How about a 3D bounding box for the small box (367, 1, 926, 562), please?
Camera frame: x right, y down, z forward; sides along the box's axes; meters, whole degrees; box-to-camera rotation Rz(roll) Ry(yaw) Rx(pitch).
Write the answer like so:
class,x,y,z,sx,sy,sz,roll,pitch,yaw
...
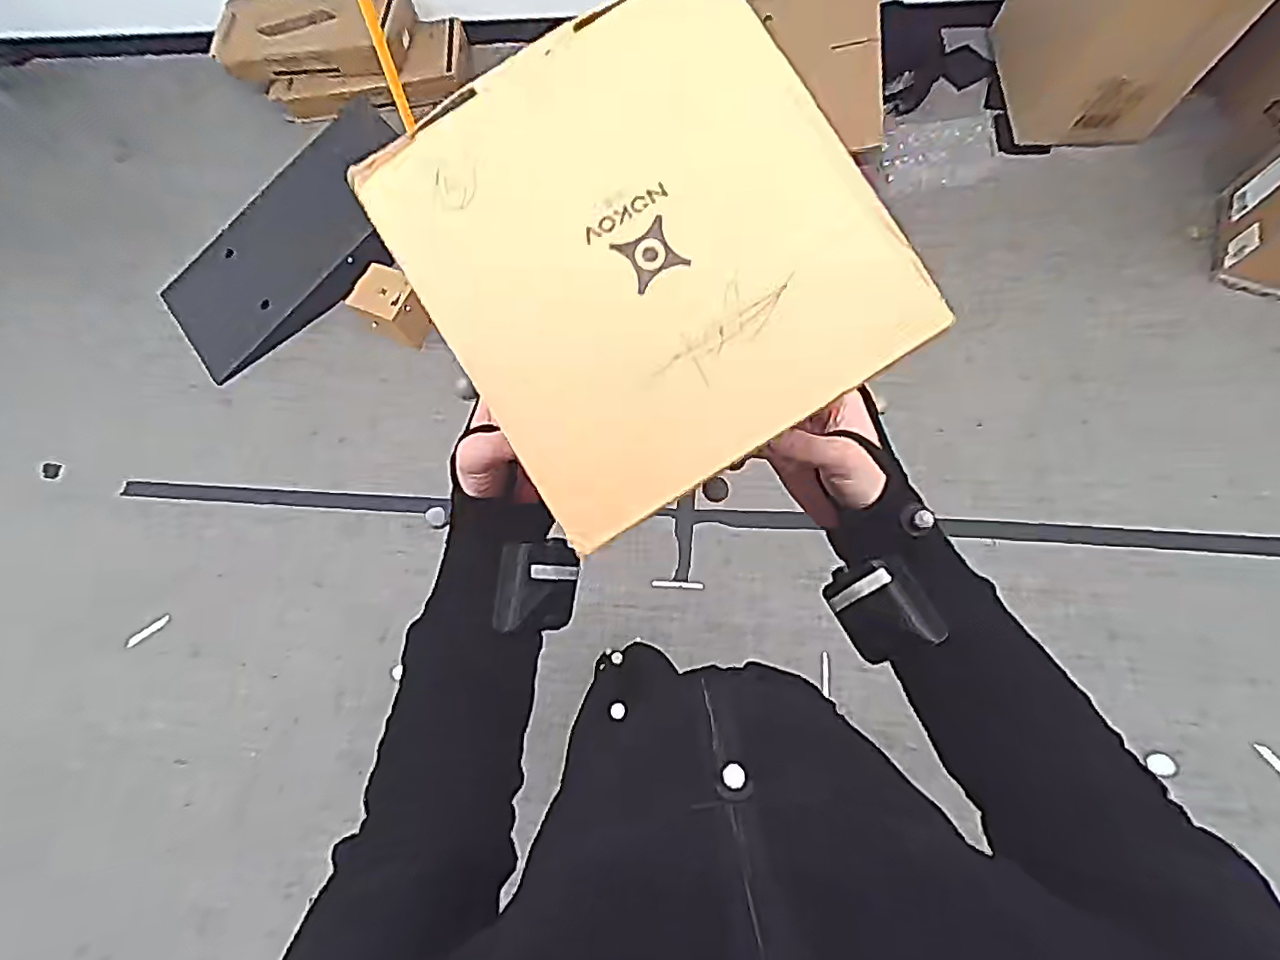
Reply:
class,x,y,z,sx,sy,sz,roll,pitch,yaw
small box,0.002,-0.078,0.295,0.168,0.176,0.179,-32,89,1
